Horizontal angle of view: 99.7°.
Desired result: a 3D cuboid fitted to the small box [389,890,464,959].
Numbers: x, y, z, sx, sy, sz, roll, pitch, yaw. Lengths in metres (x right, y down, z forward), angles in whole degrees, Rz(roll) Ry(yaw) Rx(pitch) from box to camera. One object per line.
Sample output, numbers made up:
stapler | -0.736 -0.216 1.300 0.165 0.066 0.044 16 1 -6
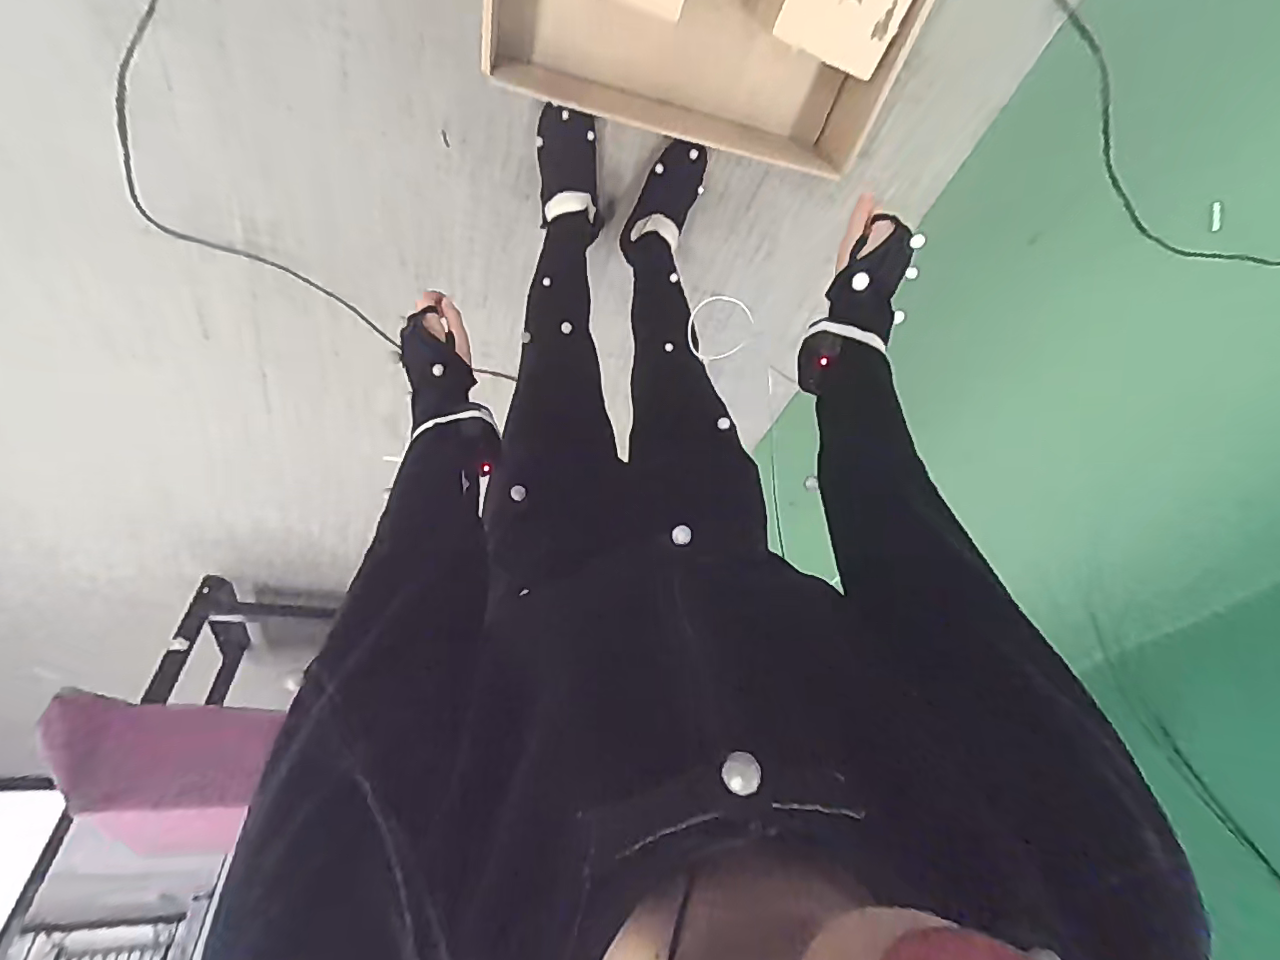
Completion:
small box | -0.627 1.324 1.590 0.168 0.176 0.179 19 130 -26

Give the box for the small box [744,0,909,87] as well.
small box | 0.274 -0.716 0.786 0.179 0.176 0.168 10 136 -19
